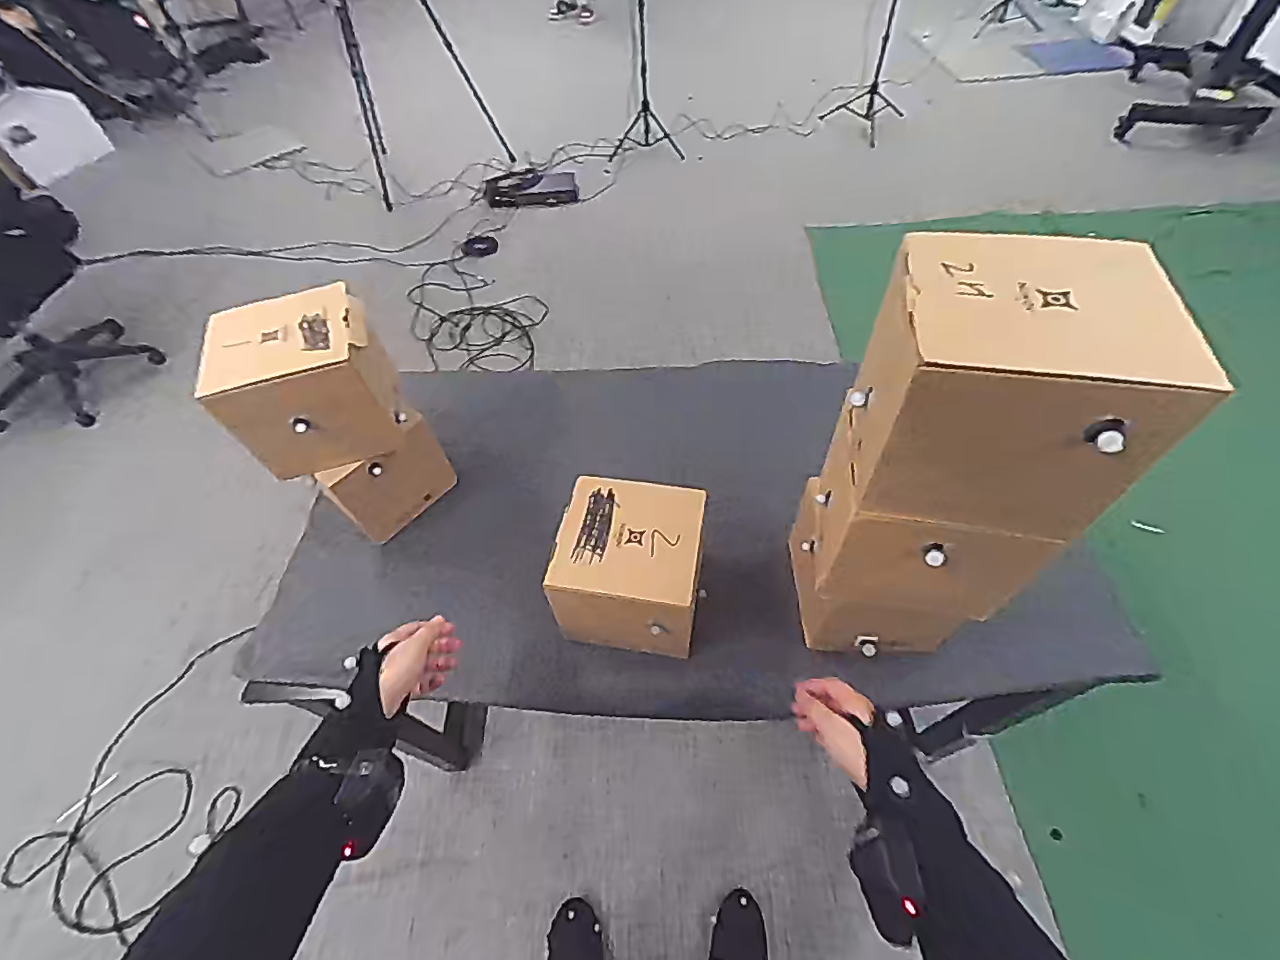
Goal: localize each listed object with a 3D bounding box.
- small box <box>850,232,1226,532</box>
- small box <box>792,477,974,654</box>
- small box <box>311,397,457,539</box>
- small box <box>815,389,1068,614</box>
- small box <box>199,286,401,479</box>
[{"bbox_3d":[0.284,-0.075,0.440,0.179,0.176,0.168,8,53,12],"label":"small box"},{"bbox_3d":[0.303,0.112,0.708,0.168,0.176,0.179,-2,53,4],"label":"small box"},{"bbox_3d":[-0.431,-0.036,0.873,0.179,0.176,0.168,33,63,24],"label":"small box"},{"bbox_3d":[0.292,0.027,0.570,0.179,0.176,0.168,6,54,11],"label":"small box"},{"bbox_3d":[-0.442,-0.129,0.737,0.179,0.176,0.168,-17,55,-8],"label":"small box"}]
